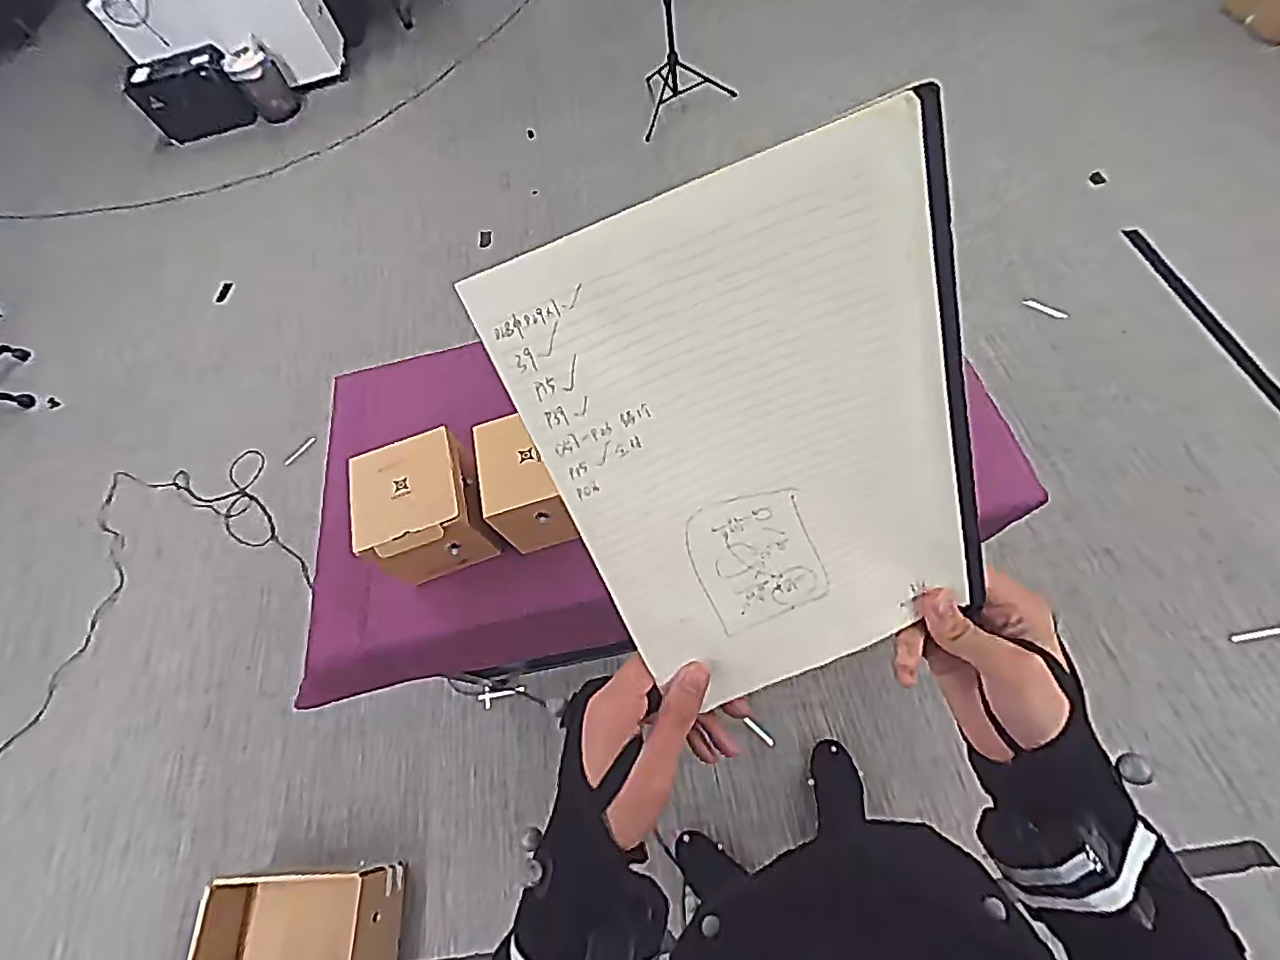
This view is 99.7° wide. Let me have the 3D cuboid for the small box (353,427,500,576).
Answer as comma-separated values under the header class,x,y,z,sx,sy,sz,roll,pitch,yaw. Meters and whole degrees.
class,x,y,z,sx,sy,sz,roll,pitch,yaw
small box,-0.348,0.047,0.901,0.168,0.176,0.179,-19,62,0
